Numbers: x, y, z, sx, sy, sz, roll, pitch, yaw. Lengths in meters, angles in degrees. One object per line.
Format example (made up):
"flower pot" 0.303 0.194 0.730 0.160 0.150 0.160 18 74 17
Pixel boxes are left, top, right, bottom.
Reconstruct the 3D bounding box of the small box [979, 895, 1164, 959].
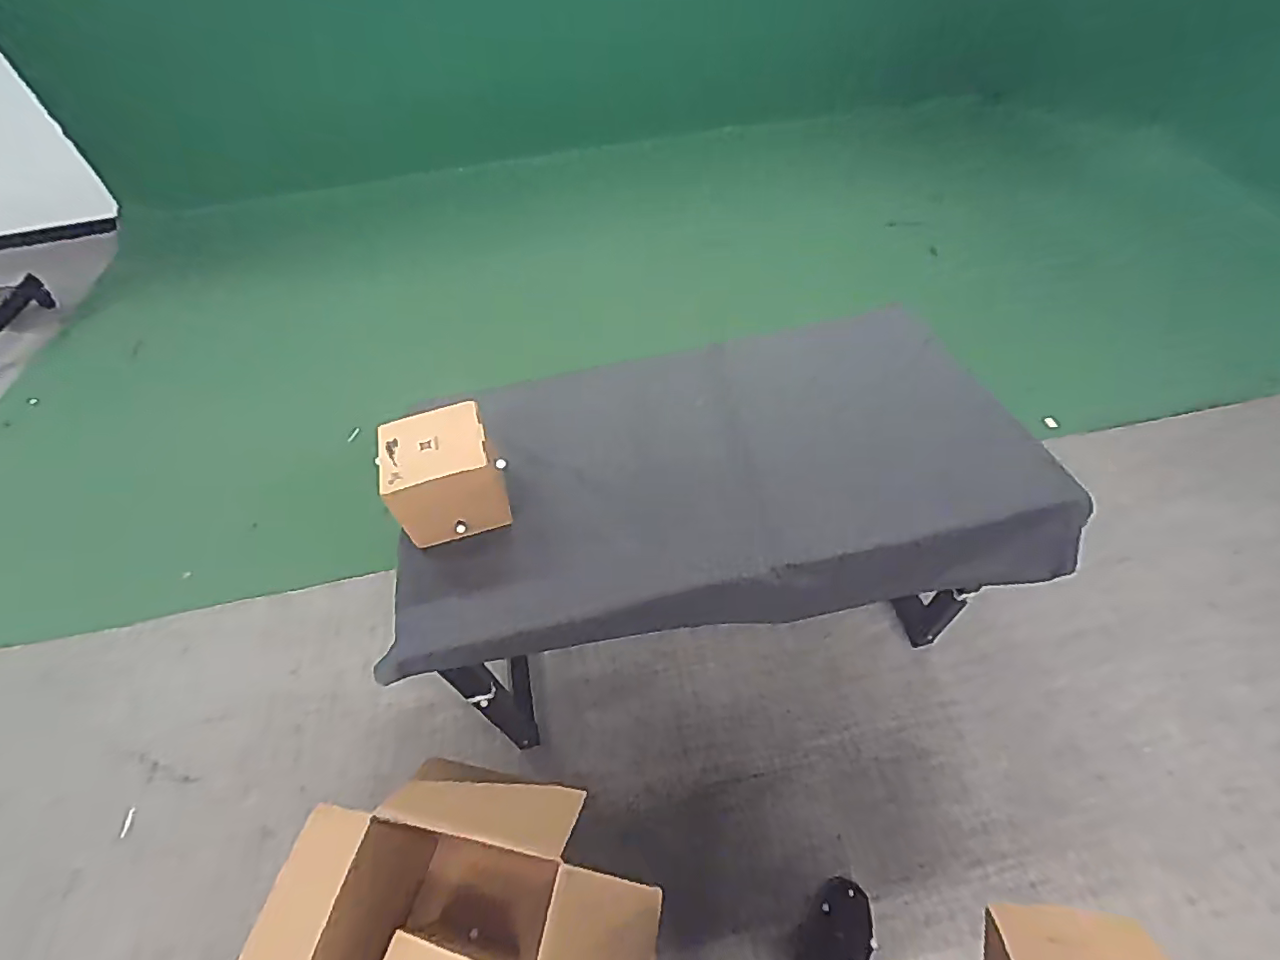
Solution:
"small box" 0.509 0.626 0.612 0.168 0.176 0.179 -3 14 11

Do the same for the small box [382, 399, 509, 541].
"small box" -0.343 -0.015 0.974 0.179 0.176 0.168 -15 52 -8
